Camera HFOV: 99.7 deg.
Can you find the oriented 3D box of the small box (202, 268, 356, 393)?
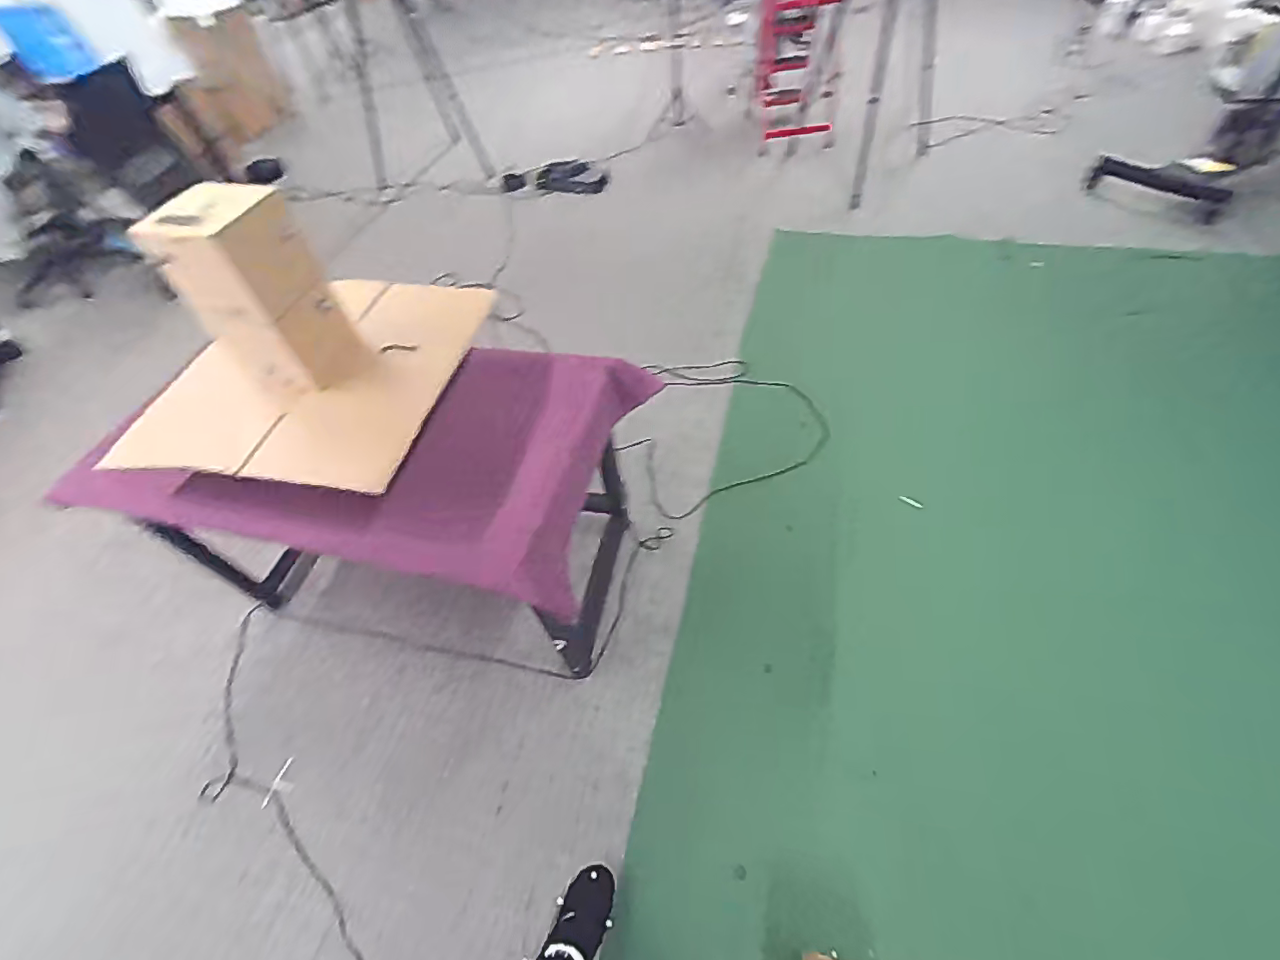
[{"bbox_3d":[-0.721,-0.306,1.110,0.168,0.176,0.179,8,54,10],"label":"small box"}]

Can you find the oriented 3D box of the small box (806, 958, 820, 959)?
[{"bbox_3d":[0.410,1.068,1.056,0.179,0.176,0.168,9,54,14],"label":"small box"}]
